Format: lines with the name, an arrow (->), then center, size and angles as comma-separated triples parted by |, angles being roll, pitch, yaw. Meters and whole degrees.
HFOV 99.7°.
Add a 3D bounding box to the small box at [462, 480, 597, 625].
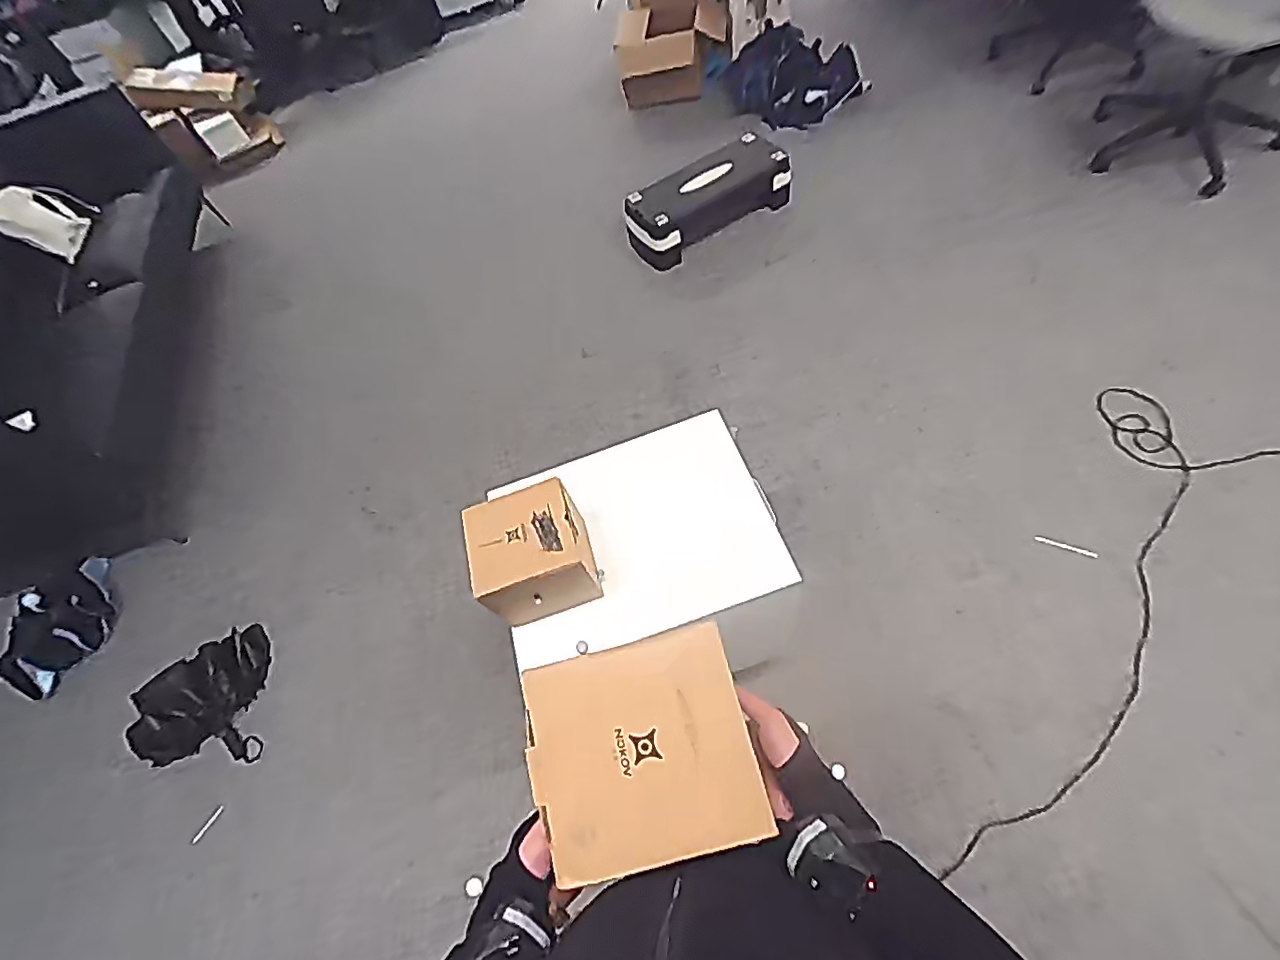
small box -> -0.182, 0.130, 0.933 | 0.179, 0.176, 0.168 | -19, 58, 0
